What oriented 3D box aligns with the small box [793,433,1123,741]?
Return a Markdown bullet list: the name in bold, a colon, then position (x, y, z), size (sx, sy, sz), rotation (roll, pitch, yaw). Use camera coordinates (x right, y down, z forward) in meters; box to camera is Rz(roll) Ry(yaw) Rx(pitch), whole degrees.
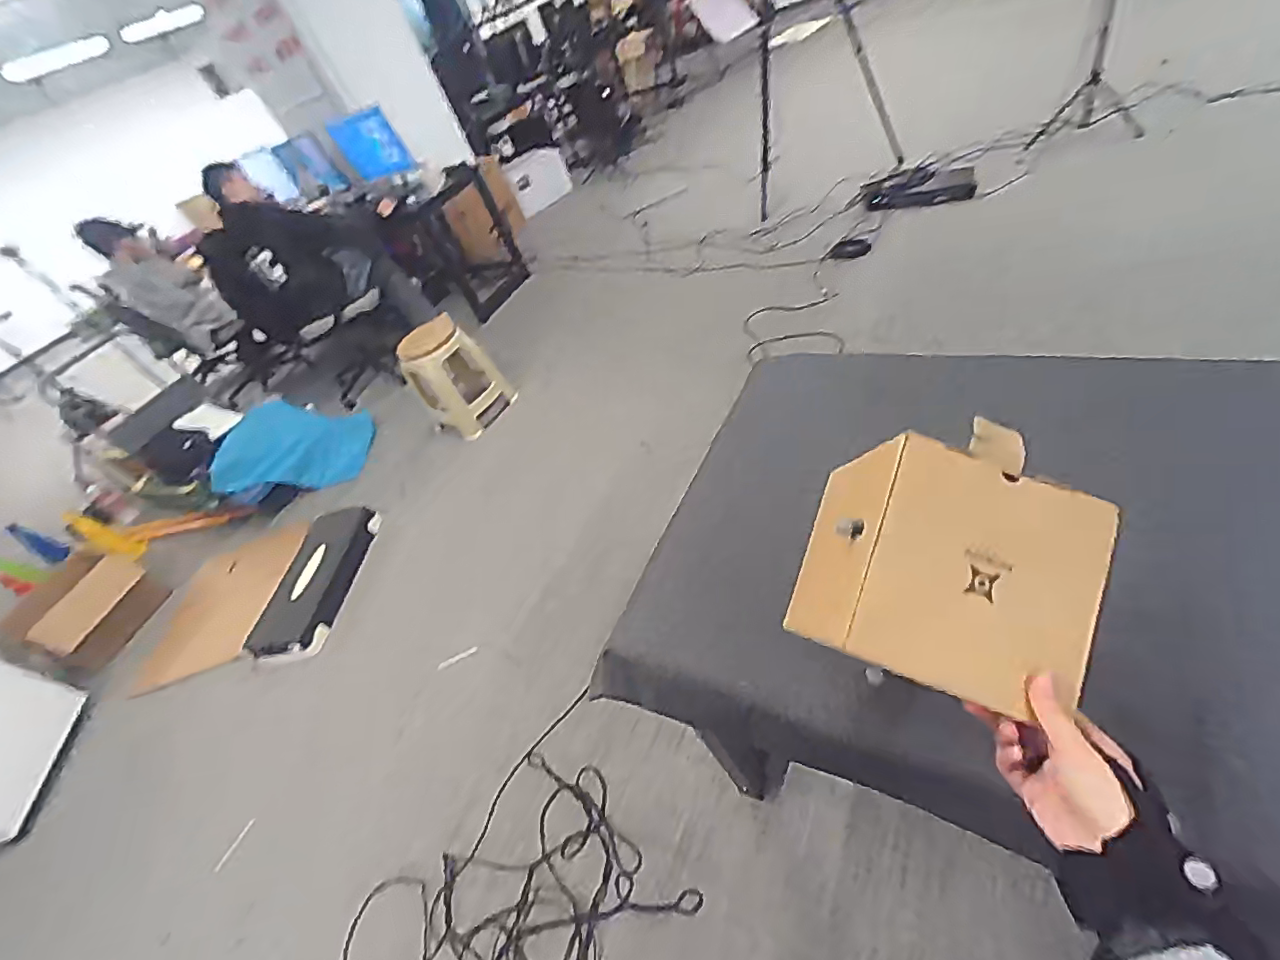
- **small box**: position (0.247, 0.086, 0.464), size (0.168, 0.176, 0.179), rotation (20, 79, 4)
